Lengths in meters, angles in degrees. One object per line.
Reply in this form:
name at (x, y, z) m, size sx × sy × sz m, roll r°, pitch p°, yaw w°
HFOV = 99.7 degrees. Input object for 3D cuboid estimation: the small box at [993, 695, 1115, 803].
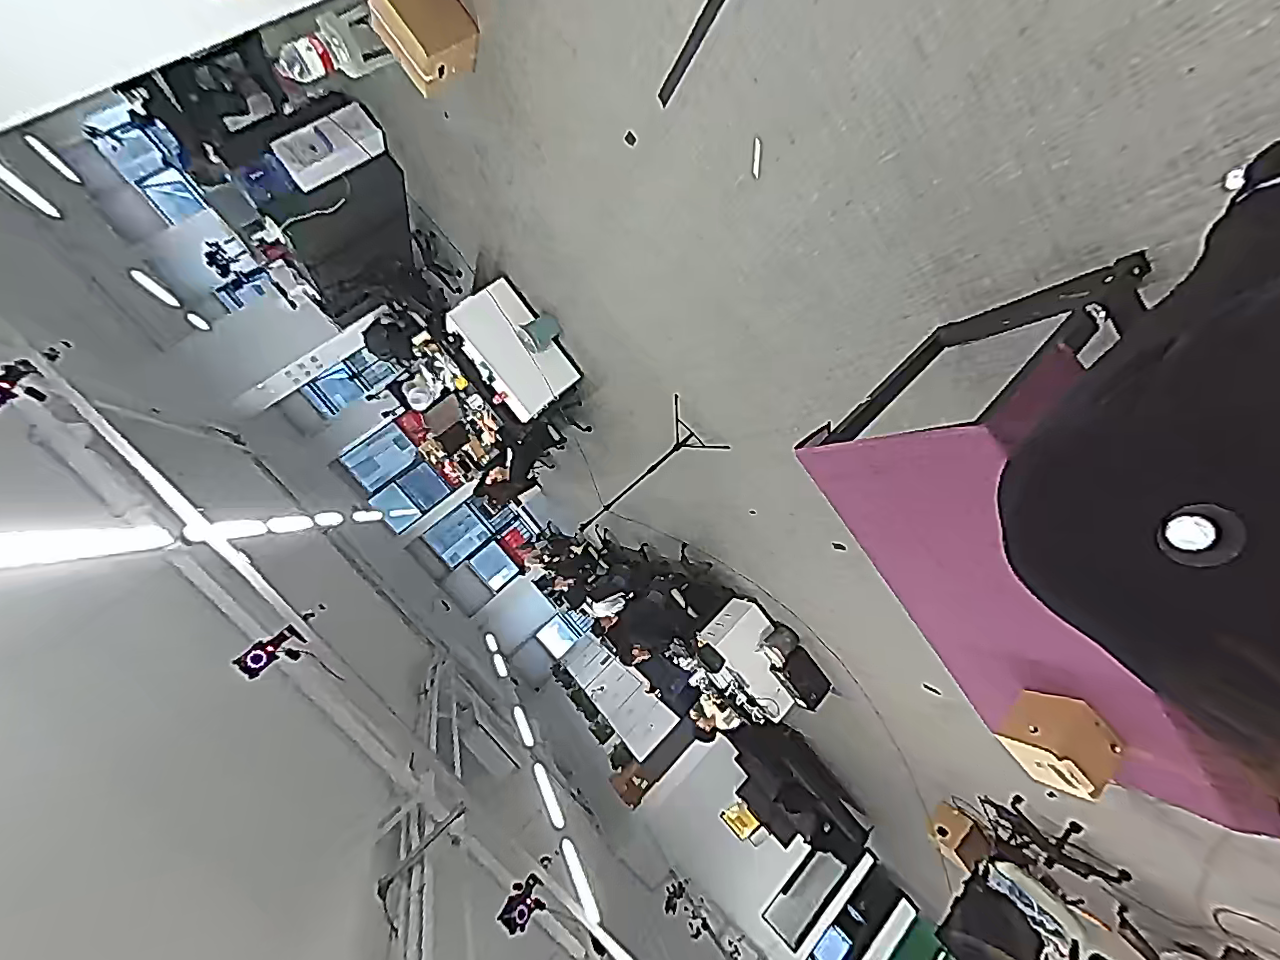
small box at (1.095, 0.697, 1.425) m, size 0.168 × 0.176 × 0.179 m, roll 49°, pitch 163°, yaw 1°
